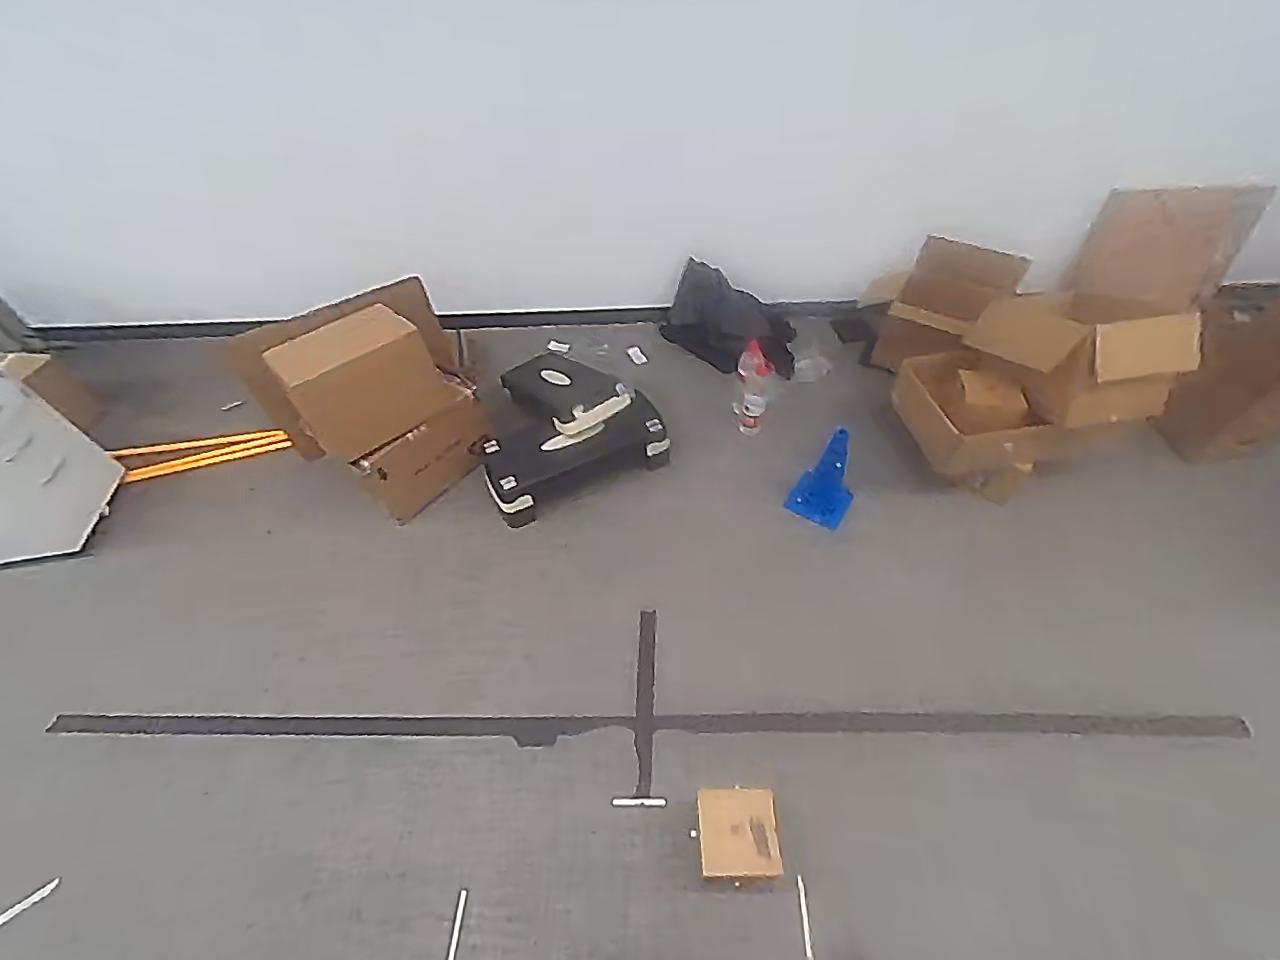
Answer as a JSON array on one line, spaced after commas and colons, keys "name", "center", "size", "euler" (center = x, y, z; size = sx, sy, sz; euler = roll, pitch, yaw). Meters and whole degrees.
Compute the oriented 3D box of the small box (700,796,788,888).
[{"name": "small box", "center": [0.234, 0.847, 1.265], "size": [0.179, 0.176, 0.168], "euler": [-3, 50, 3]}]
